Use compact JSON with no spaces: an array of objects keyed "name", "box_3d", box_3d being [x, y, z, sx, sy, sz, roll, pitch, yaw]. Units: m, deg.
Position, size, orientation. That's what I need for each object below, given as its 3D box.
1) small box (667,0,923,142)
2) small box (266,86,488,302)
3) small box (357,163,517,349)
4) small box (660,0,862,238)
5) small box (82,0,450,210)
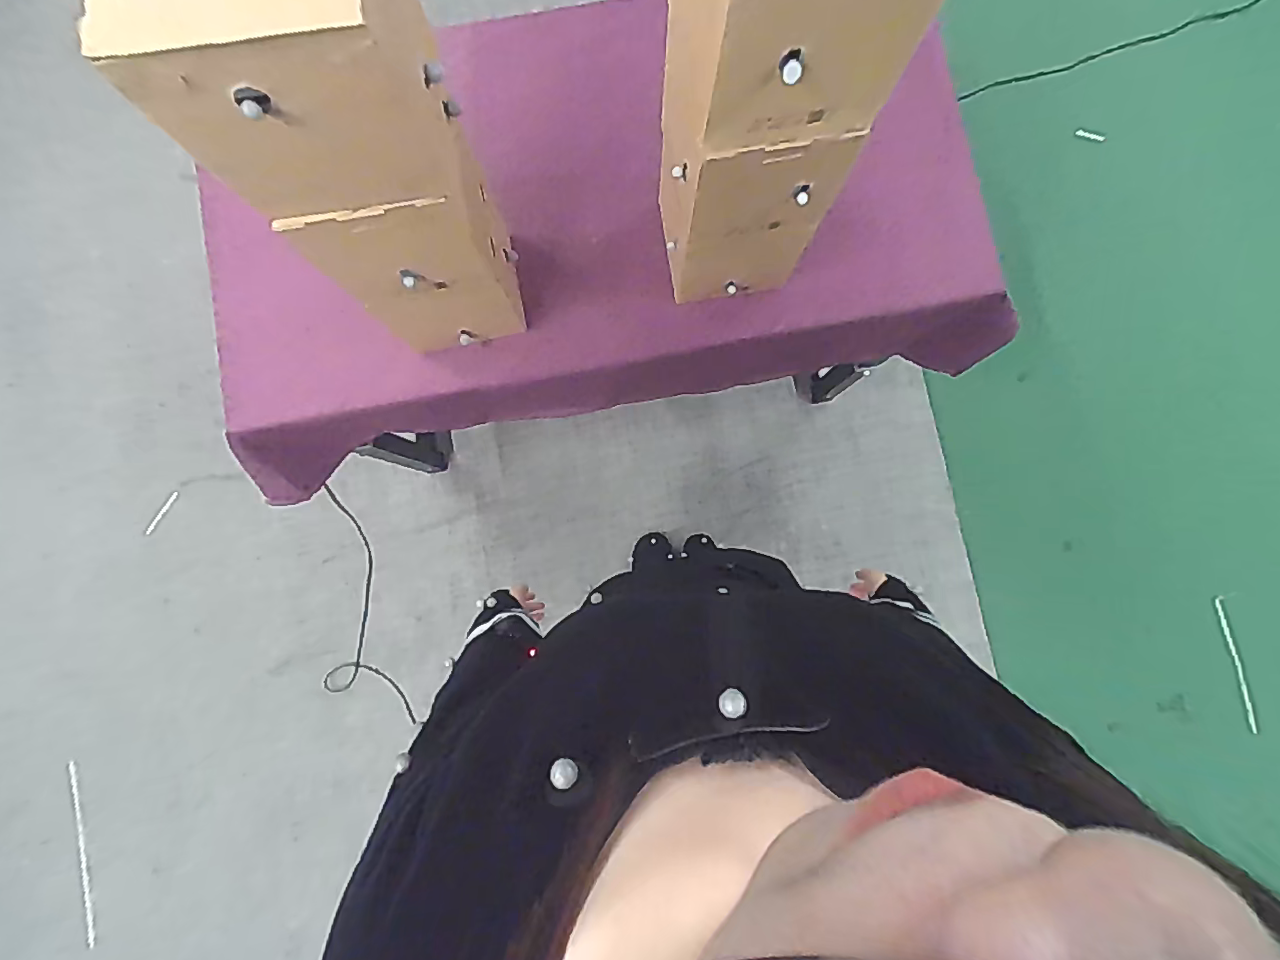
[{"name":"small box","box_3d":[0.119,-0.408,0.438,0.168,0.176,0.179,-10,84,-2]},{"name":"small box","box_3d":[-0.276,-0.321,0.588,0.168,0.176,0.179,-10,85,-1]},{"name":"small box","box_3d":[-0.277,-0.299,0.752,0.179,0.176,0.168,-12,84,-2]},{"name":"small box","box_3d":[0.118,-0.392,0.599,0.168,0.176,0.179,-10,84,-2]},{"name":"small box","box_3d":[-0.270,-0.339,0.424,0.179,0.176,0.168,-9,84,-2]}]
